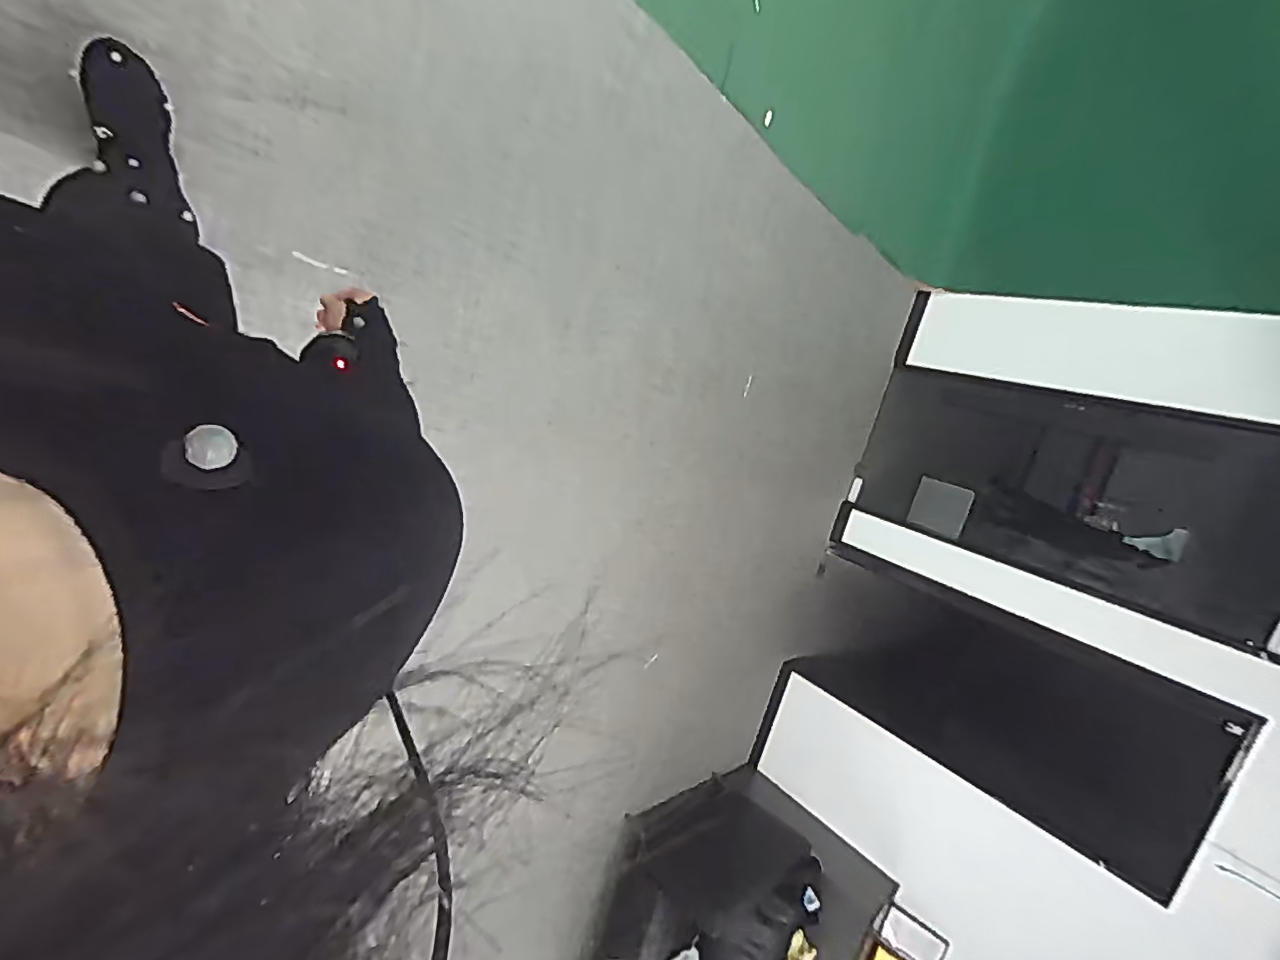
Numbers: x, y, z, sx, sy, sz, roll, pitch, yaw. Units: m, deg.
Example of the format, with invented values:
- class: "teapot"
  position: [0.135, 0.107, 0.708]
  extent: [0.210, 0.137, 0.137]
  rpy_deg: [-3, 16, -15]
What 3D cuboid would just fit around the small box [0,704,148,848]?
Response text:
- class: "small box"
  position: [-1.222, 0.627, 1.165]
  extent: [0.179, 0.176, 0.168]
  rpy_deg: [-34, 129, -31]
